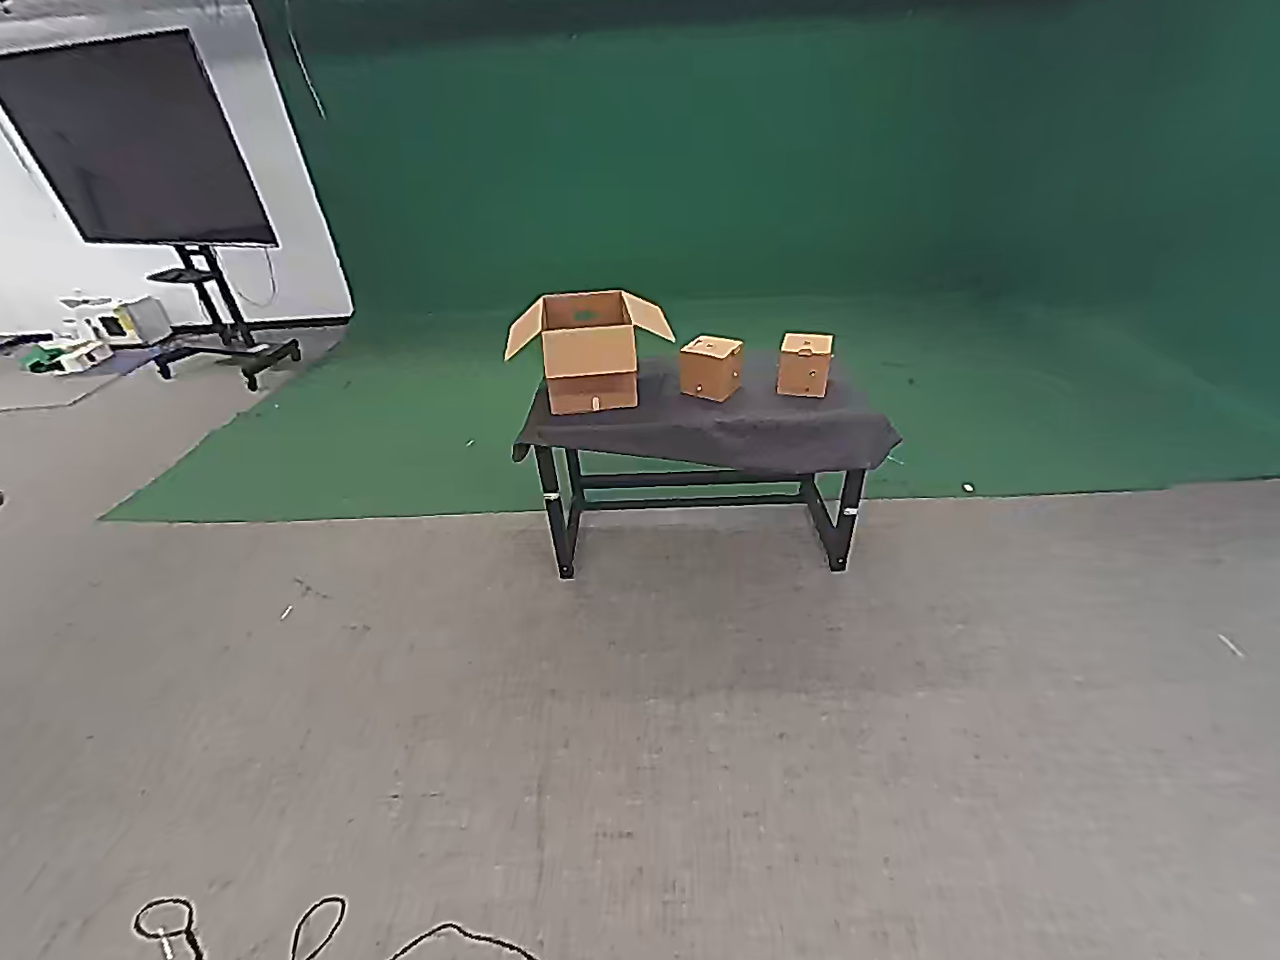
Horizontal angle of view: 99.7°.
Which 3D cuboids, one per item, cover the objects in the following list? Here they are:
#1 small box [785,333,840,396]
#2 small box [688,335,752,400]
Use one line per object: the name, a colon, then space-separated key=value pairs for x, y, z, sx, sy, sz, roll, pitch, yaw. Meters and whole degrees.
small box: x=0.621 y=-0.417 z=1.951 sx=0.168 sy=0.176 sz=0.179 roll=9 pitch=36 yaw=17
small box: x=0.291 y=-0.410 z=1.979 sx=0.179 sy=0.176 sz=0.168 roll=20 pitch=42 yaw=30
